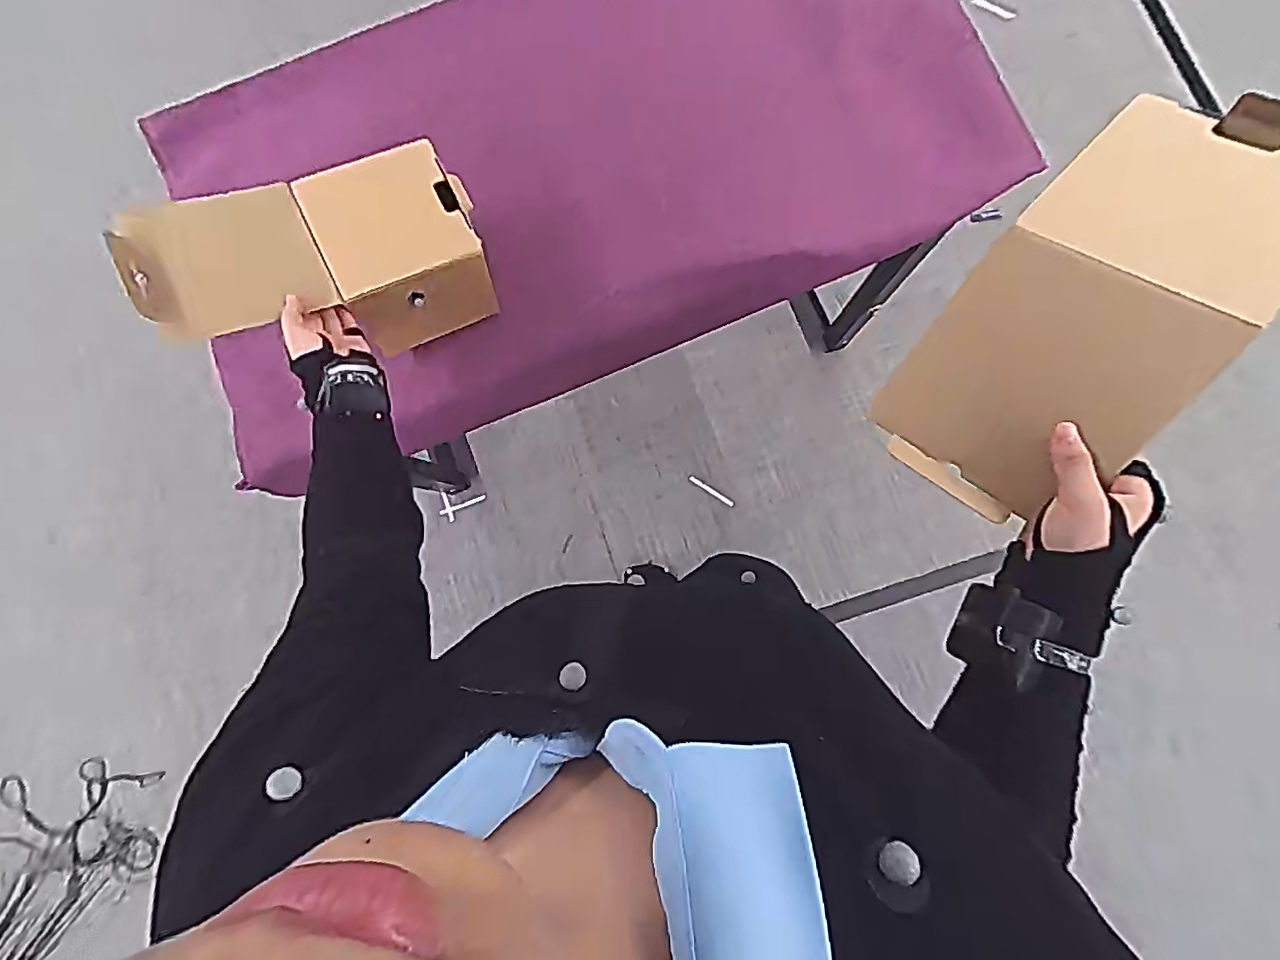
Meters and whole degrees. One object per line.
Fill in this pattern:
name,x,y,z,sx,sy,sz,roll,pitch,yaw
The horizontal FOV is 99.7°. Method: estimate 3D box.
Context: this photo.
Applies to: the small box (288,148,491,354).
small box,-0.316,-0.291,0.721,0.179,0.176,0.168,-24,87,-13
